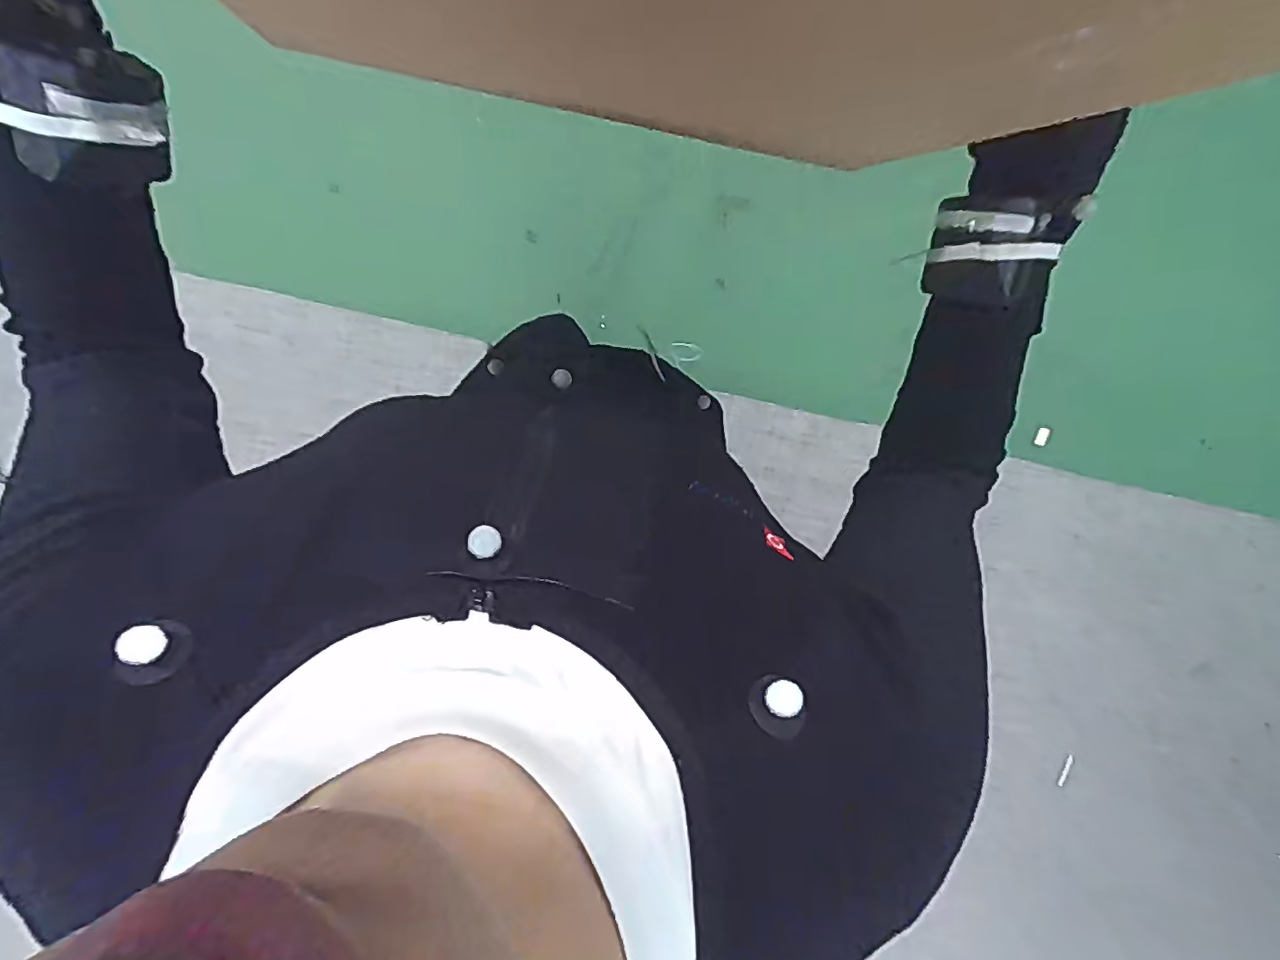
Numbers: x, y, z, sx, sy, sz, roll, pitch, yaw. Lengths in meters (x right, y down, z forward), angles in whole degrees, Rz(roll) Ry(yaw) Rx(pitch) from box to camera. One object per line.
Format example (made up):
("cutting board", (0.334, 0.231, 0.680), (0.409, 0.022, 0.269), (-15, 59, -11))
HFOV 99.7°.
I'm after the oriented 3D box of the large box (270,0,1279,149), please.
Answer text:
("large box", (0.034, -0.343, 0.182), (0.408, 0.320, 0.320), (3, 113, -15))
